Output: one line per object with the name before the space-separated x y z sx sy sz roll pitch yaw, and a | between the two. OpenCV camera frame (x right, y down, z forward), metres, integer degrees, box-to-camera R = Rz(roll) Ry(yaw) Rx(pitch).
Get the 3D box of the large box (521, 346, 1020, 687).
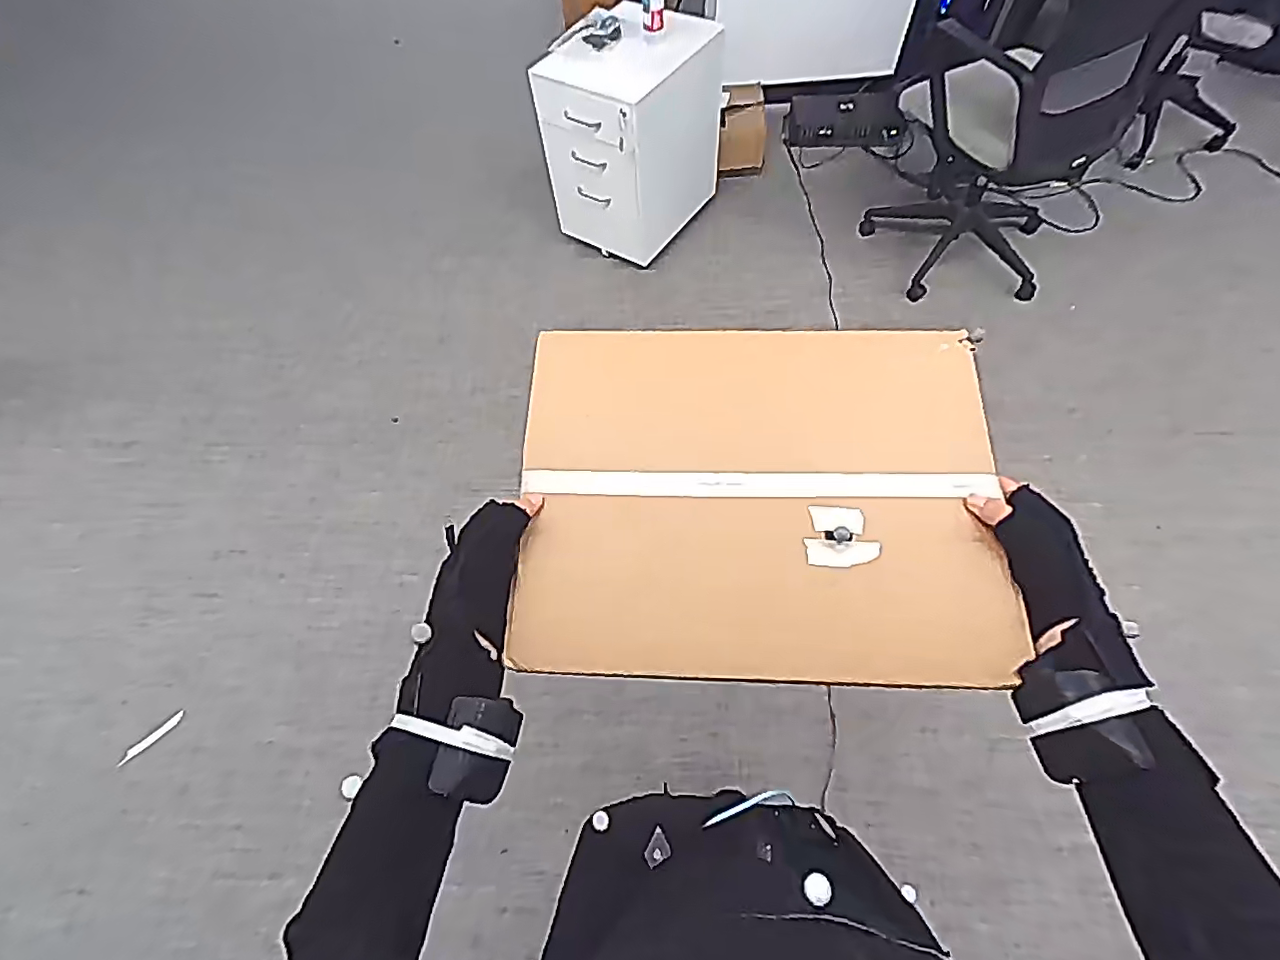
large box | 0.108 0.064 0.618 0.408 0.320 0.320 1 71 3
